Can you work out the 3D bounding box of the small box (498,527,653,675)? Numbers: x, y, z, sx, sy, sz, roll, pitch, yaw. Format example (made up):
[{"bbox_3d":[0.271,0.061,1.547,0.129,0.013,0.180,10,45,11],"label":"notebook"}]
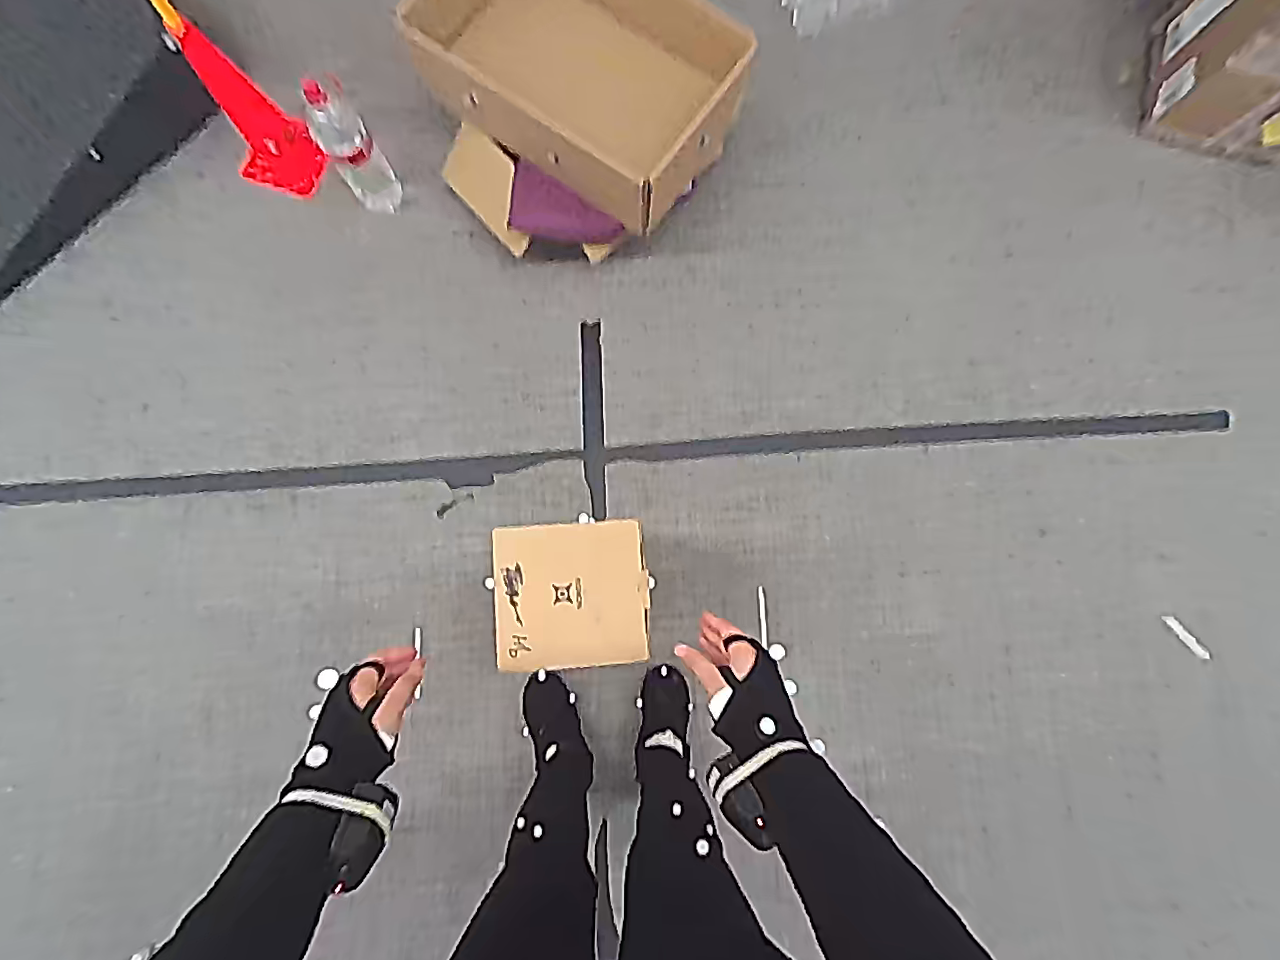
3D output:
[{"bbox_3d":[-0.081,0.148,0.707,0.179,0.176,0.168,-3,82,-4],"label":"small box"}]
